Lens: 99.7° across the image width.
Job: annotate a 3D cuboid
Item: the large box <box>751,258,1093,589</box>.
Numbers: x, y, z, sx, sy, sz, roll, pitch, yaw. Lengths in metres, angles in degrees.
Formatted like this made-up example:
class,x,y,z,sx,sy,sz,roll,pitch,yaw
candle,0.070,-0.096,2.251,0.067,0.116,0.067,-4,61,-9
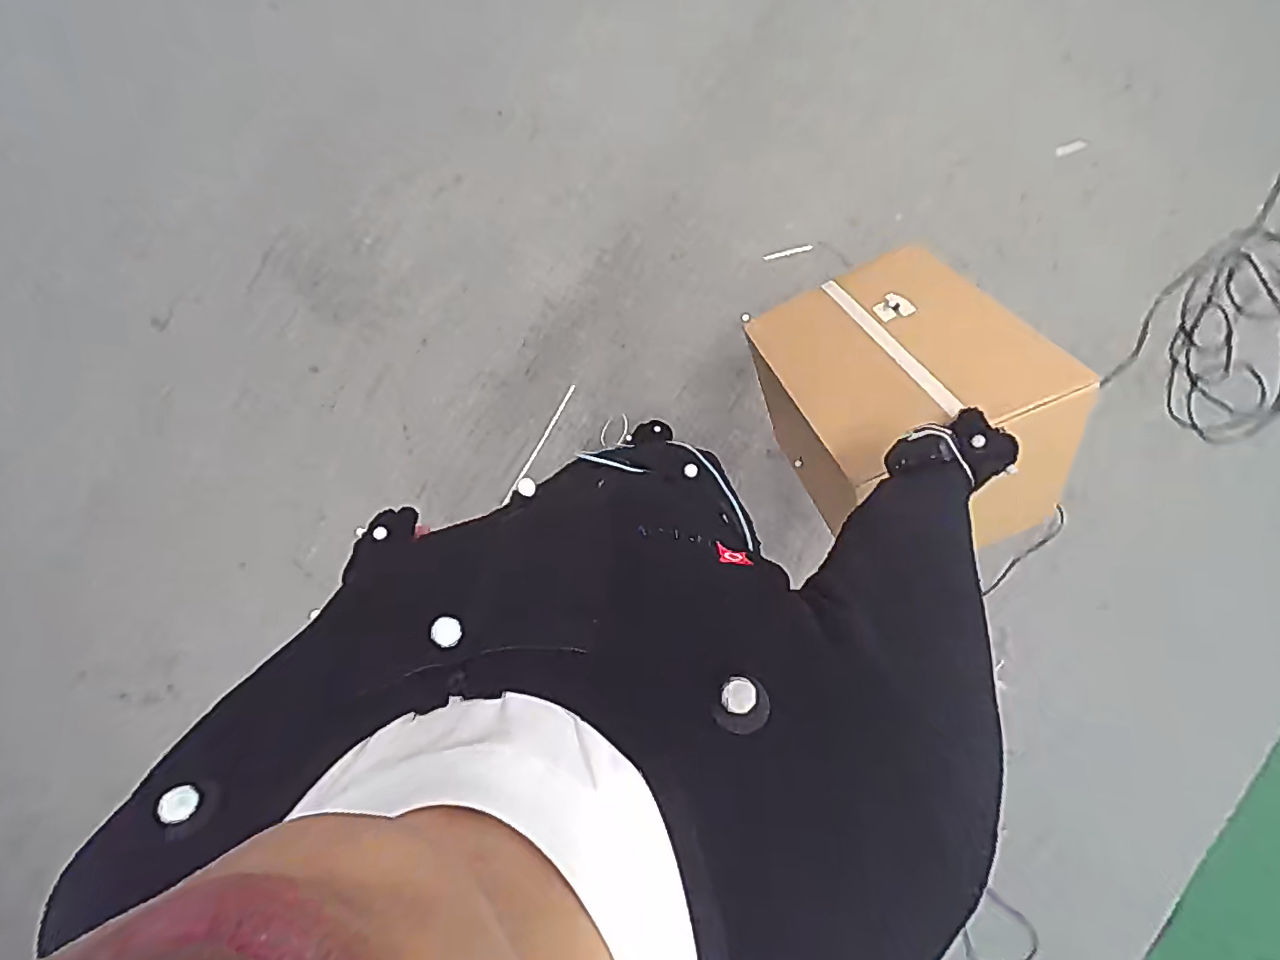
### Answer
class,x,y,z,sx,sy,sz,roll,pitch,yaw
large box,0.433,-0.096,0.920,0.320,0.408,0.320,-23,136,7
